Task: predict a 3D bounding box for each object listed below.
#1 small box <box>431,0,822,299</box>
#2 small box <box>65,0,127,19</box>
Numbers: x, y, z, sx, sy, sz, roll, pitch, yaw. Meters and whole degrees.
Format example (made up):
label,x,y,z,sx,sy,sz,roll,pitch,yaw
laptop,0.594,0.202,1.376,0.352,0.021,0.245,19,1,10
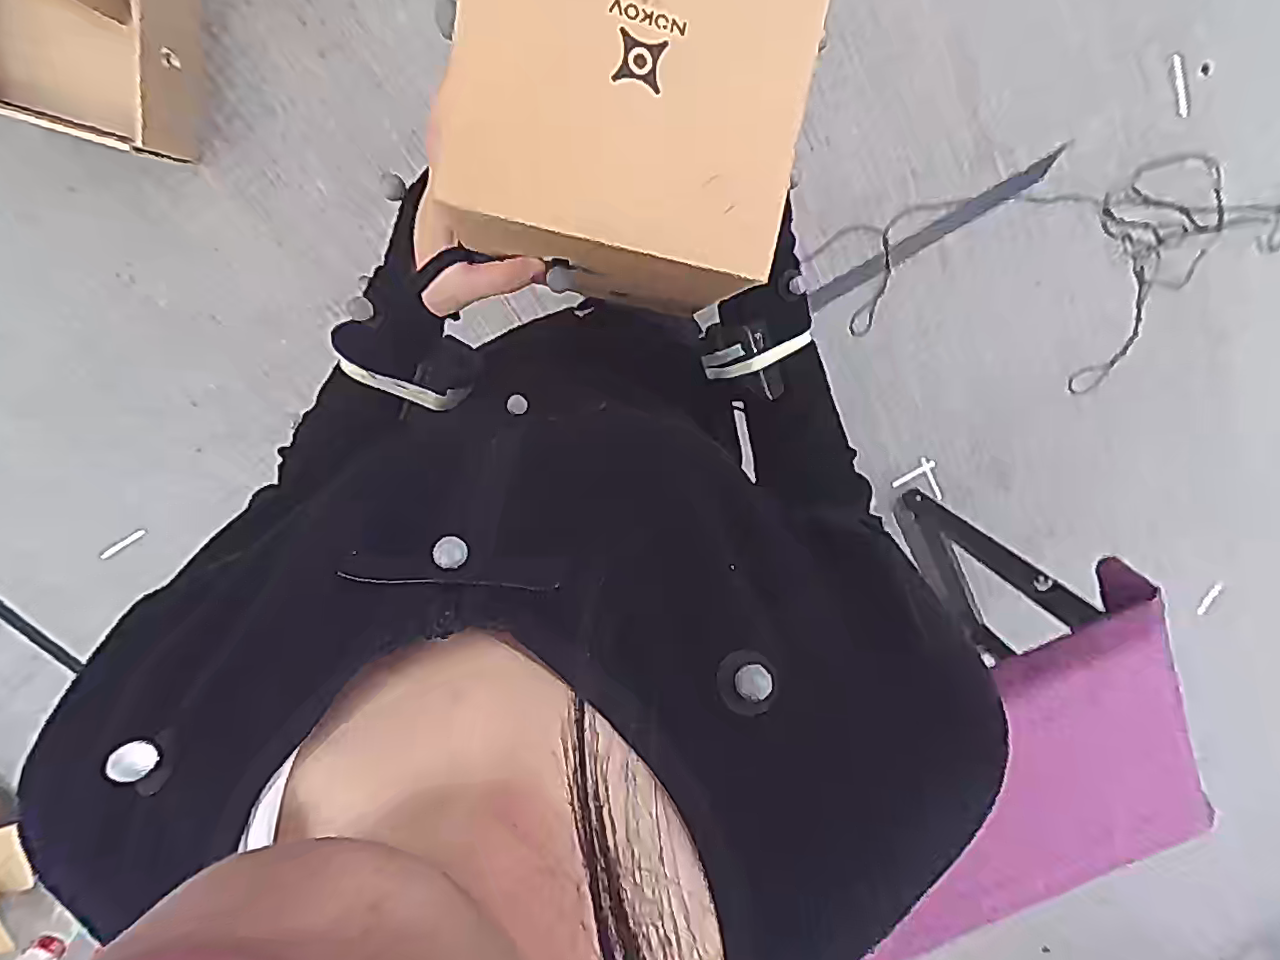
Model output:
label,x,y,z,sx,sy,sz,roll,pitch,yaw
small box,-0.011,-0.219,0.321,0.168,0.176,0.179,9,98,-10
small box,-1.055,-0.960,0.943,0.179,0.176,0.168,16,109,-11
